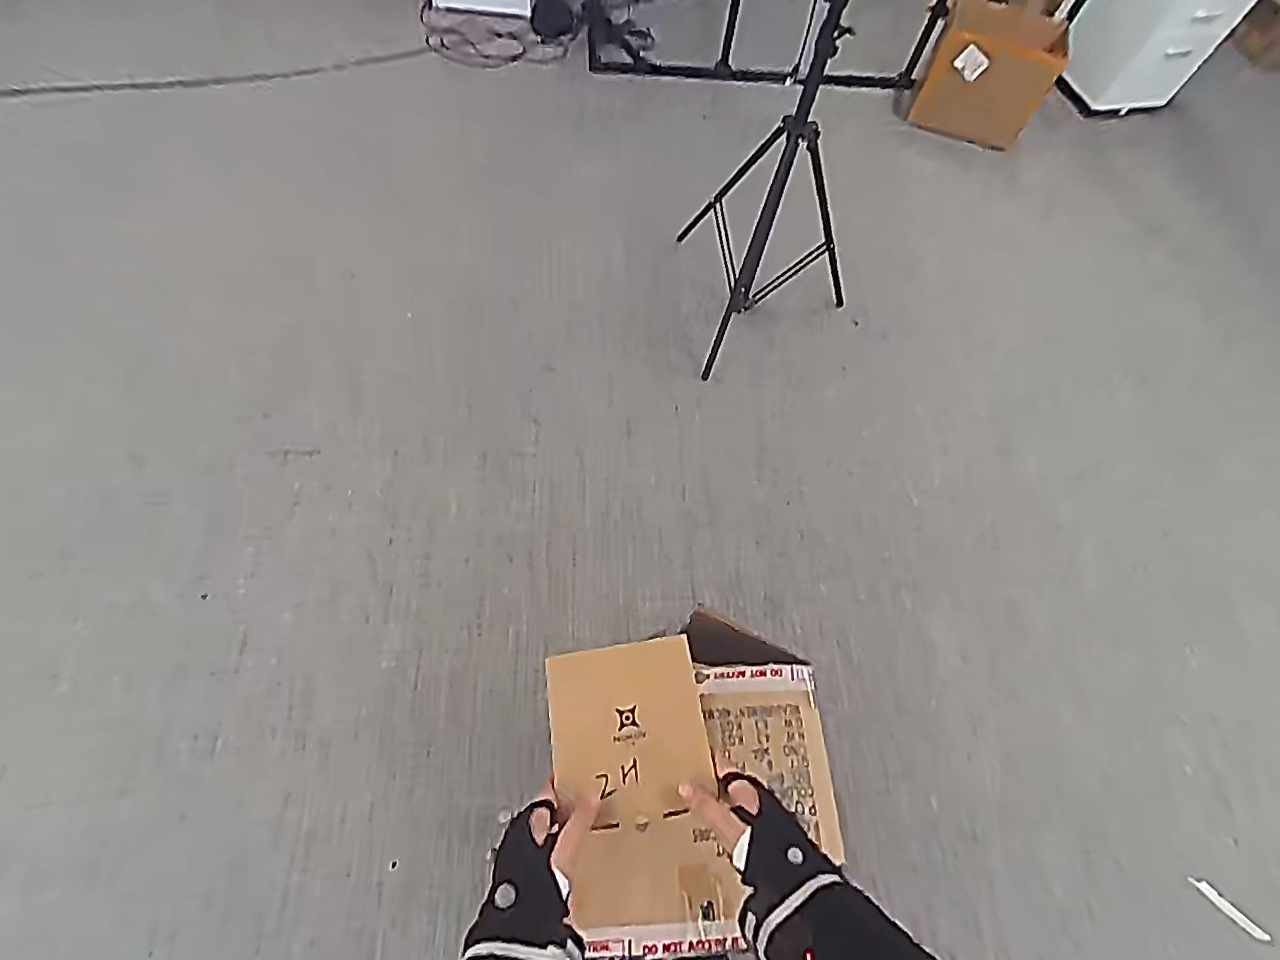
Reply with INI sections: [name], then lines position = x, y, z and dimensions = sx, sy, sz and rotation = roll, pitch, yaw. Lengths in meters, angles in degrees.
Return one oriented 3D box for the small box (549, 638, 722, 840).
[small box]
position = -0.012, 0.304, 0.639
dimensions = 0.168, 0.176, 0.179
rotation = -8, 61, -4
